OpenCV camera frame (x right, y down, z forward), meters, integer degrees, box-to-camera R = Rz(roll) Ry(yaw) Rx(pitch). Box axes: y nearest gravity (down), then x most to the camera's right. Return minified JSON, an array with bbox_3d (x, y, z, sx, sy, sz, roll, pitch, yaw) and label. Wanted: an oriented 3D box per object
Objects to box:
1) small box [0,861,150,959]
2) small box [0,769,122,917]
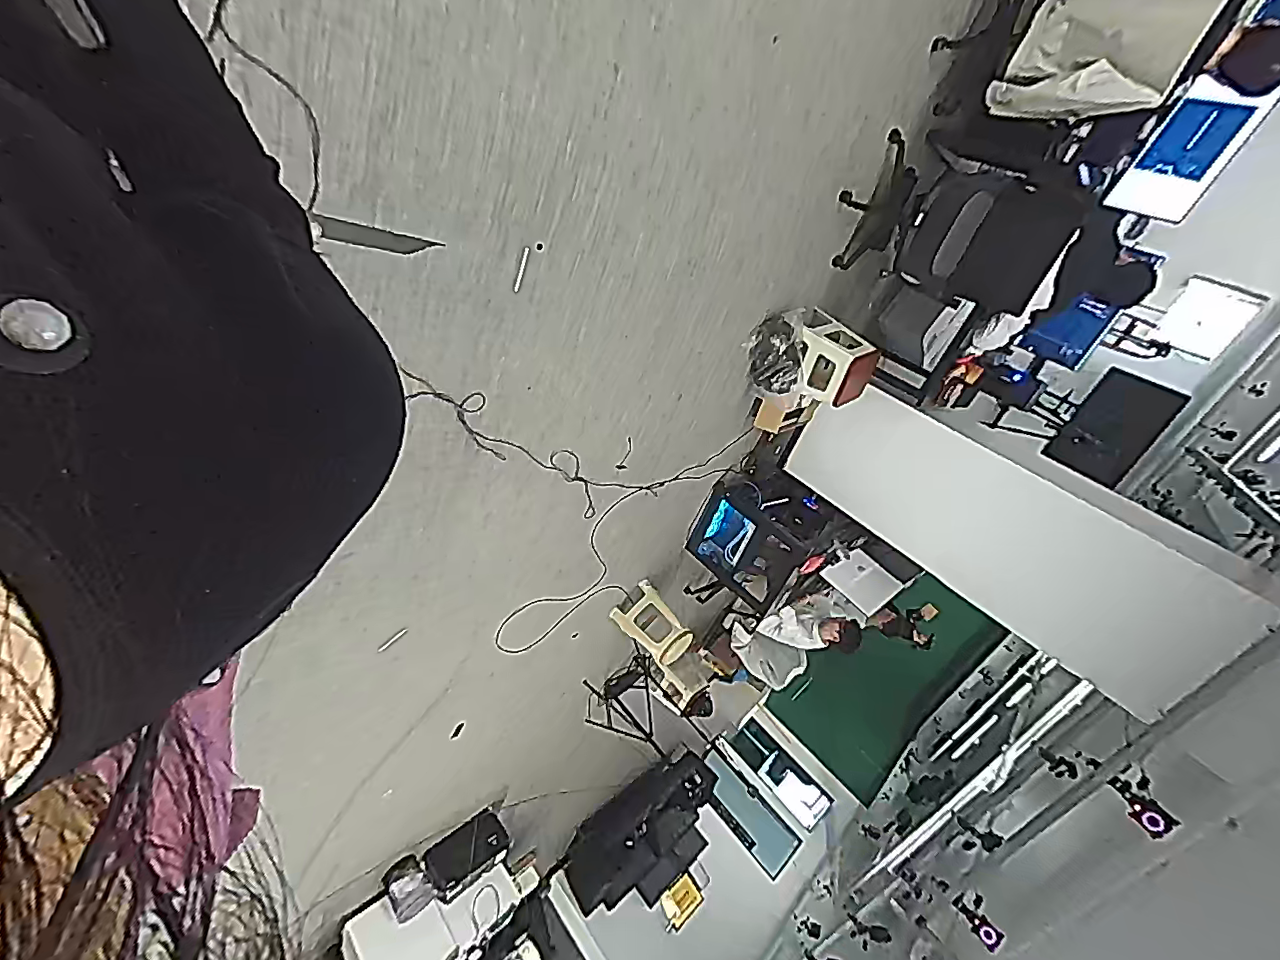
[{"bbox_3d":[-0.767,0.658,0.706,0.179,0.176,0.168,-15,138,-46],"label":"small box"},{"bbox_3d":[-0.874,0.566,0.785,0.168,0.176,0.179,-14,134,-46],"label":"small box"}]
